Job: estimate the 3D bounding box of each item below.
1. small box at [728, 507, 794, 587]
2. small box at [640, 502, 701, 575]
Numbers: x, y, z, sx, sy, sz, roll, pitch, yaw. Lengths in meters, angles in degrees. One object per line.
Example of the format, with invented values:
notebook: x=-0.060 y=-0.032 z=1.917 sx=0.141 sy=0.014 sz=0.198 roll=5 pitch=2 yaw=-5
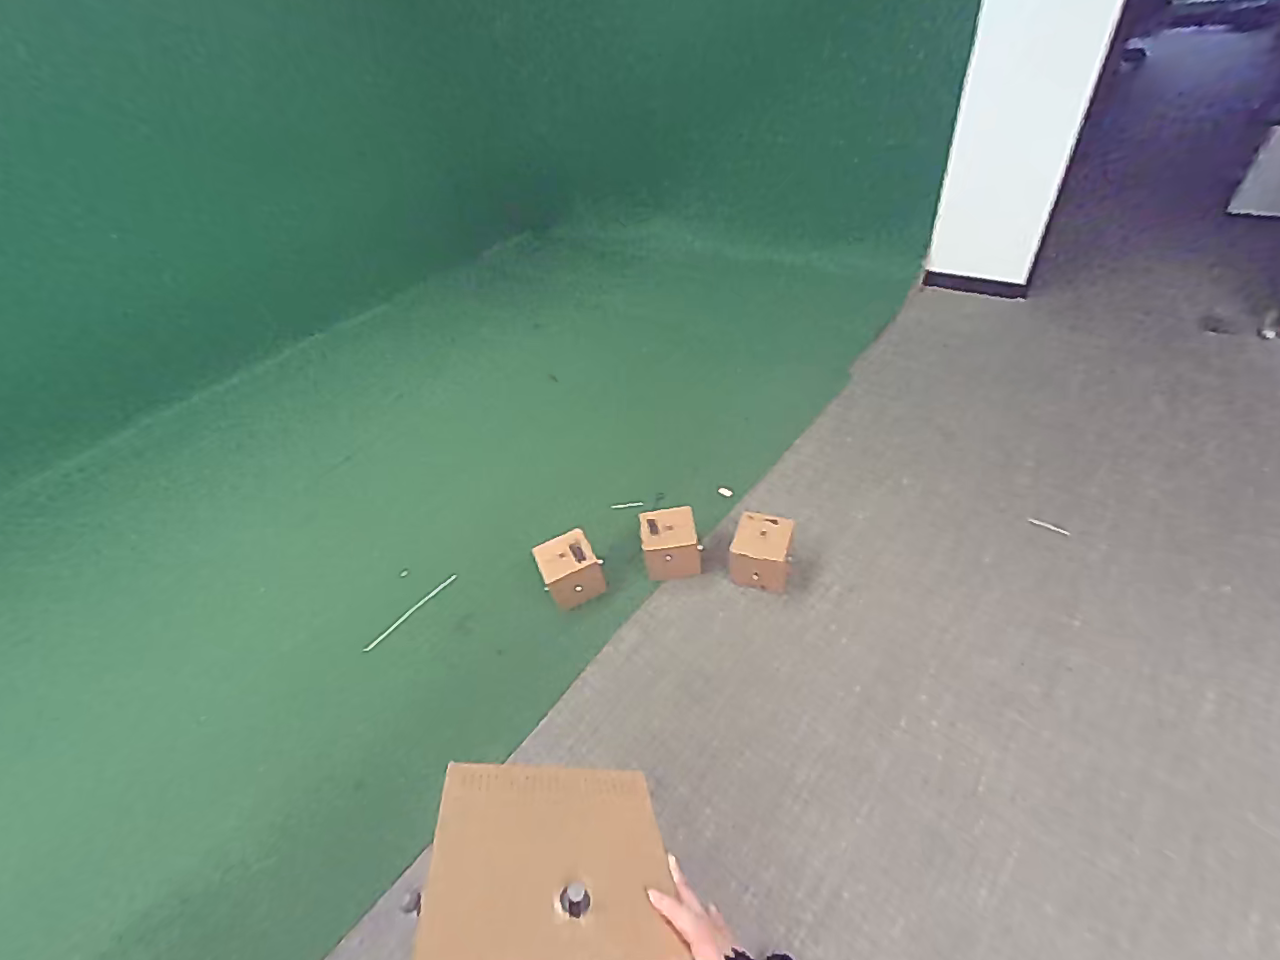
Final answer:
small box: x=0.389 y=0.216 z=1.723 sx=0.168 sy=0.176 sz=0.179 roll=11 pitch=49 yaw=22
small box: x=0.102 y=0.199 z=1.804 sx=0.179 sy=0.176 sz=0.168 roll=-8 pitch=44 yaw=3
